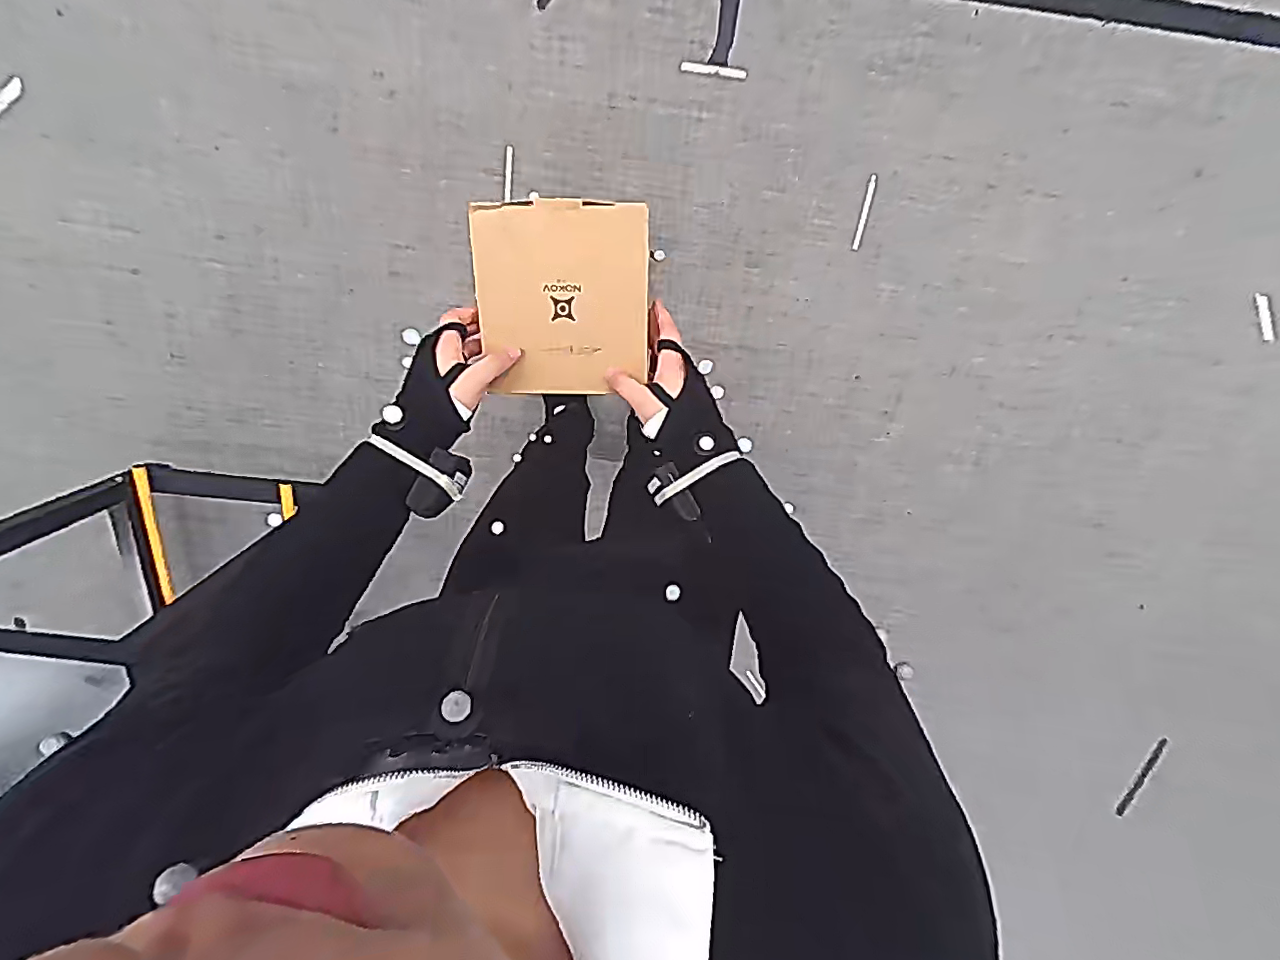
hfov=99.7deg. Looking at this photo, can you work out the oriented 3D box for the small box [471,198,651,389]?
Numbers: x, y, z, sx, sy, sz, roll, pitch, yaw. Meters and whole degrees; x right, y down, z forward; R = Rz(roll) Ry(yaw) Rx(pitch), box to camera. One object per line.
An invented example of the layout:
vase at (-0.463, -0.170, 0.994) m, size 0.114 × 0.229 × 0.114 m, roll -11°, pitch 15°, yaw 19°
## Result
small box at (-0.073, -0.204, 0.597) m, size 0.168 × 0.176 × 0.179 m, roll 1°, pitch 112°, yaw 2°
